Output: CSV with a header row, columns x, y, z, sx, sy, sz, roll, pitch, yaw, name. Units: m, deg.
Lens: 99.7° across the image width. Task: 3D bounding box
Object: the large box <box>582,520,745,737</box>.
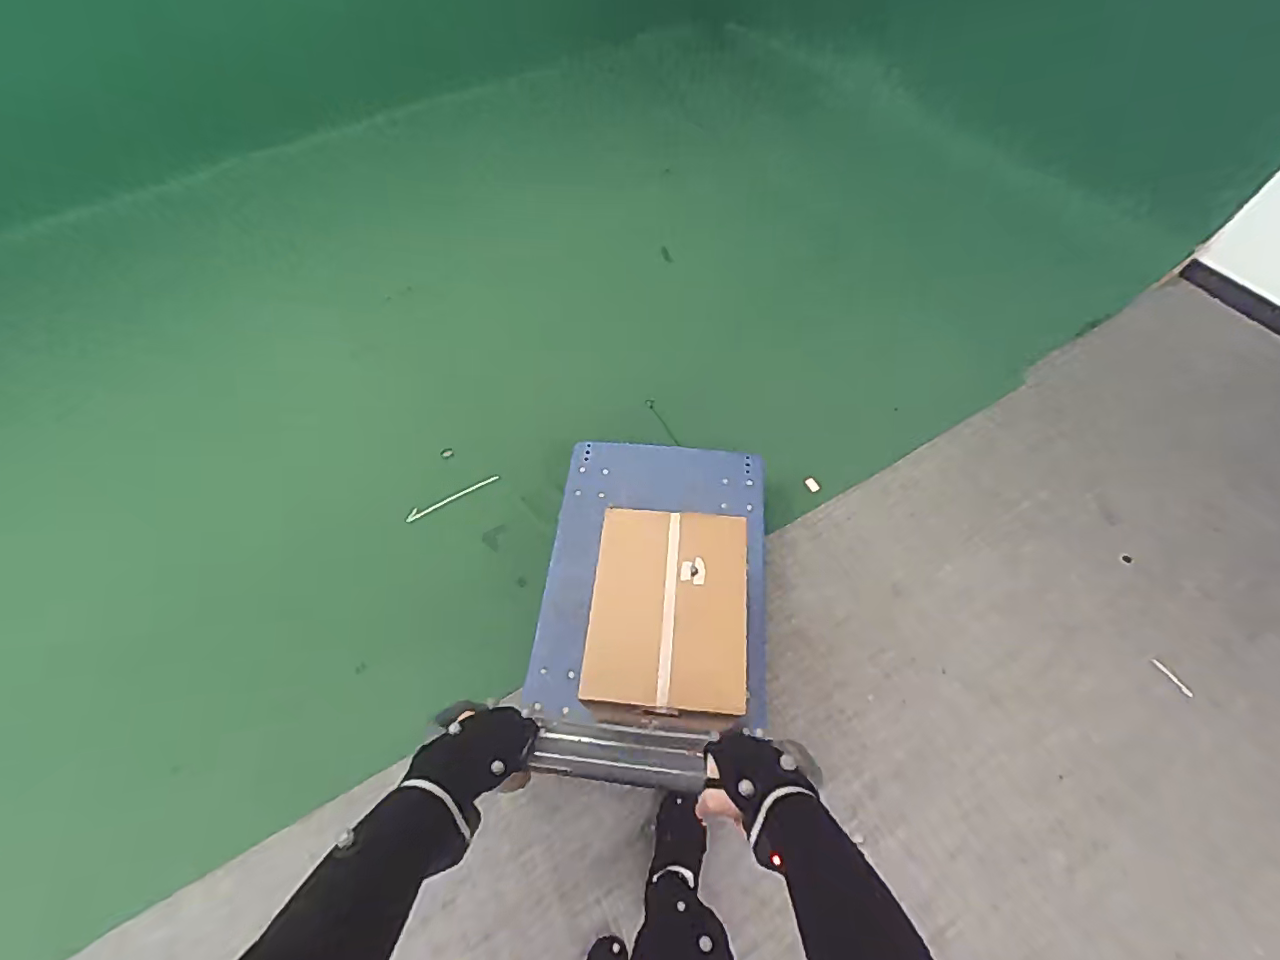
x,y,z,sx,sy,sz,roll,pitch,yaw,name
0.063,0.346,1.239,0.320,0.320,0.408,4,59,4,large box
